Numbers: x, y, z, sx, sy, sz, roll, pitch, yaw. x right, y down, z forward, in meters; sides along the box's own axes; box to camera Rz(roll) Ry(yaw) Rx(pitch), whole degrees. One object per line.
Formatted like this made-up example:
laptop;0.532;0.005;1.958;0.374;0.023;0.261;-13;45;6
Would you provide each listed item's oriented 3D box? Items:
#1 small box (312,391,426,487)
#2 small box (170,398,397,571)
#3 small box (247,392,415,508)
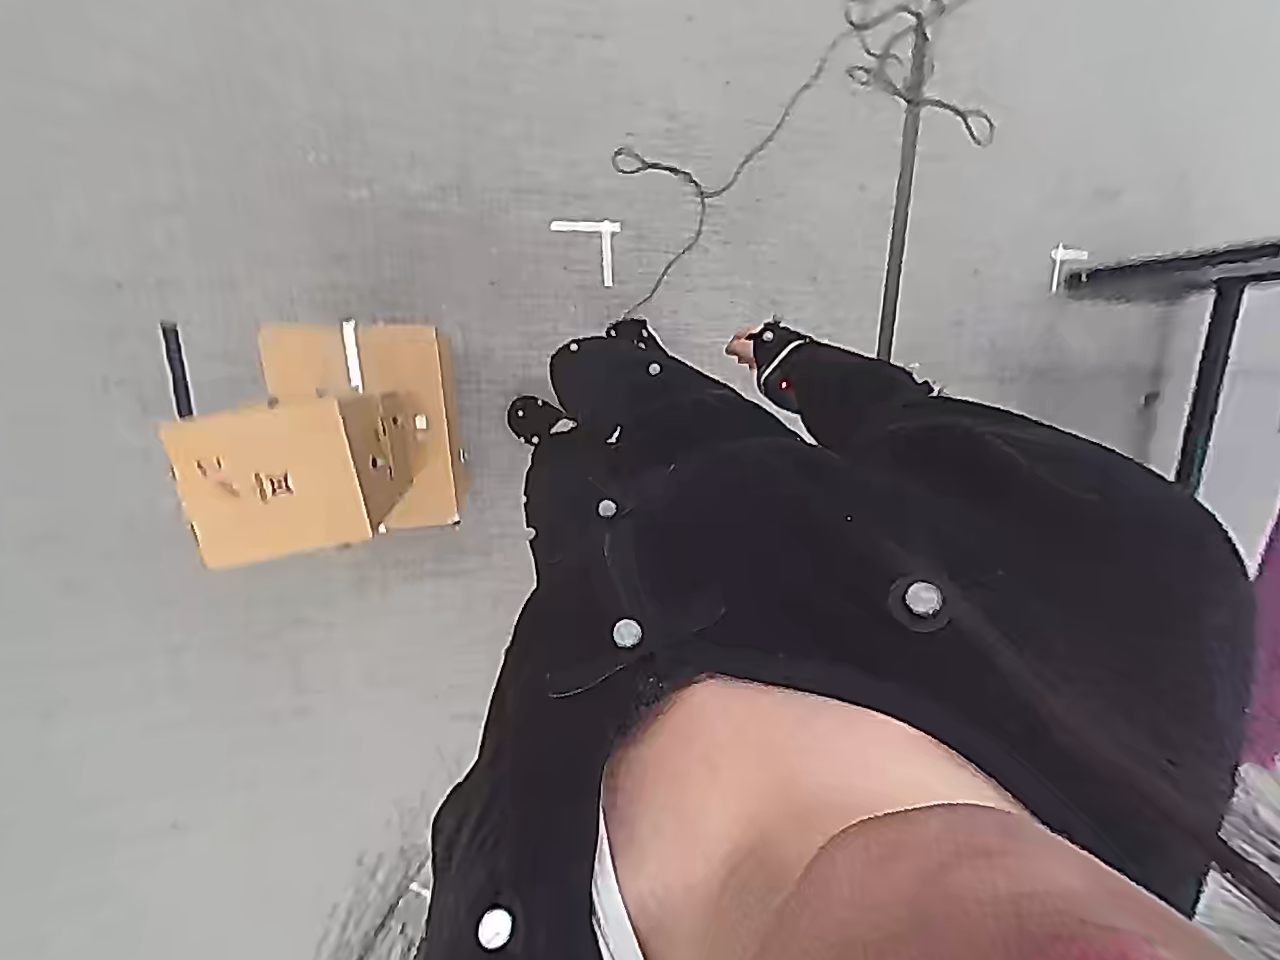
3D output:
small box;-0.500;-0.072;0.983;0.179;0.176;0.168;-6;103;-14
small box;-0.416;-0.007;0.673;0.179;0.176;0.168;-12;103;-12
small box;-0.454;-0.044;0.829;0.179;0.176;0.168;-7;102;-12
